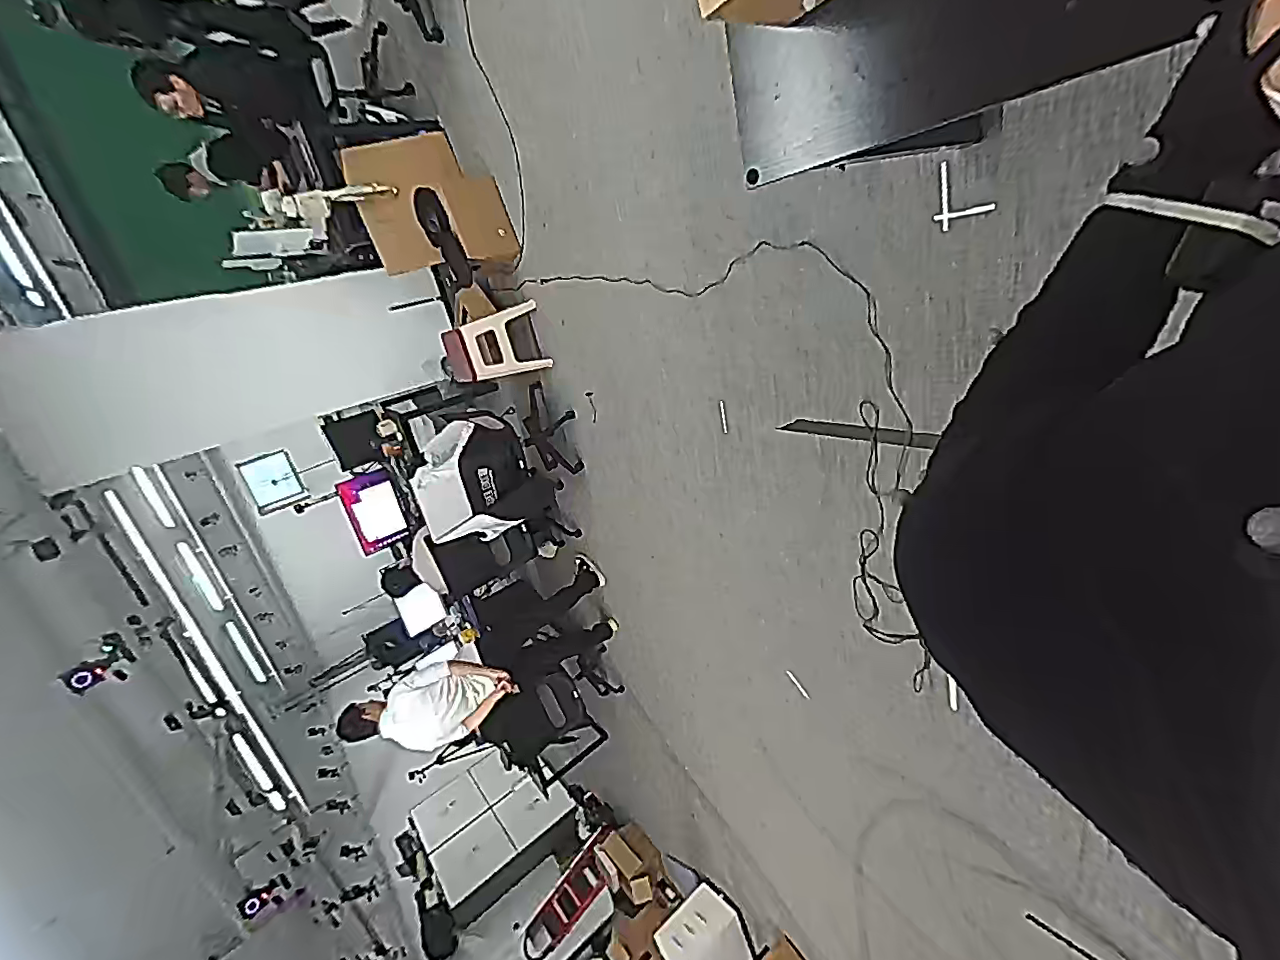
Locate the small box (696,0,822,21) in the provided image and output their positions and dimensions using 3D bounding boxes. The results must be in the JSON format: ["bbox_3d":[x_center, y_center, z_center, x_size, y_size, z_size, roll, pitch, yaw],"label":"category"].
[{"bbox_3d":[0.165,-0.668,0.618,0.168,0.176,0.179,12,123,52],"label":"small box"}]
